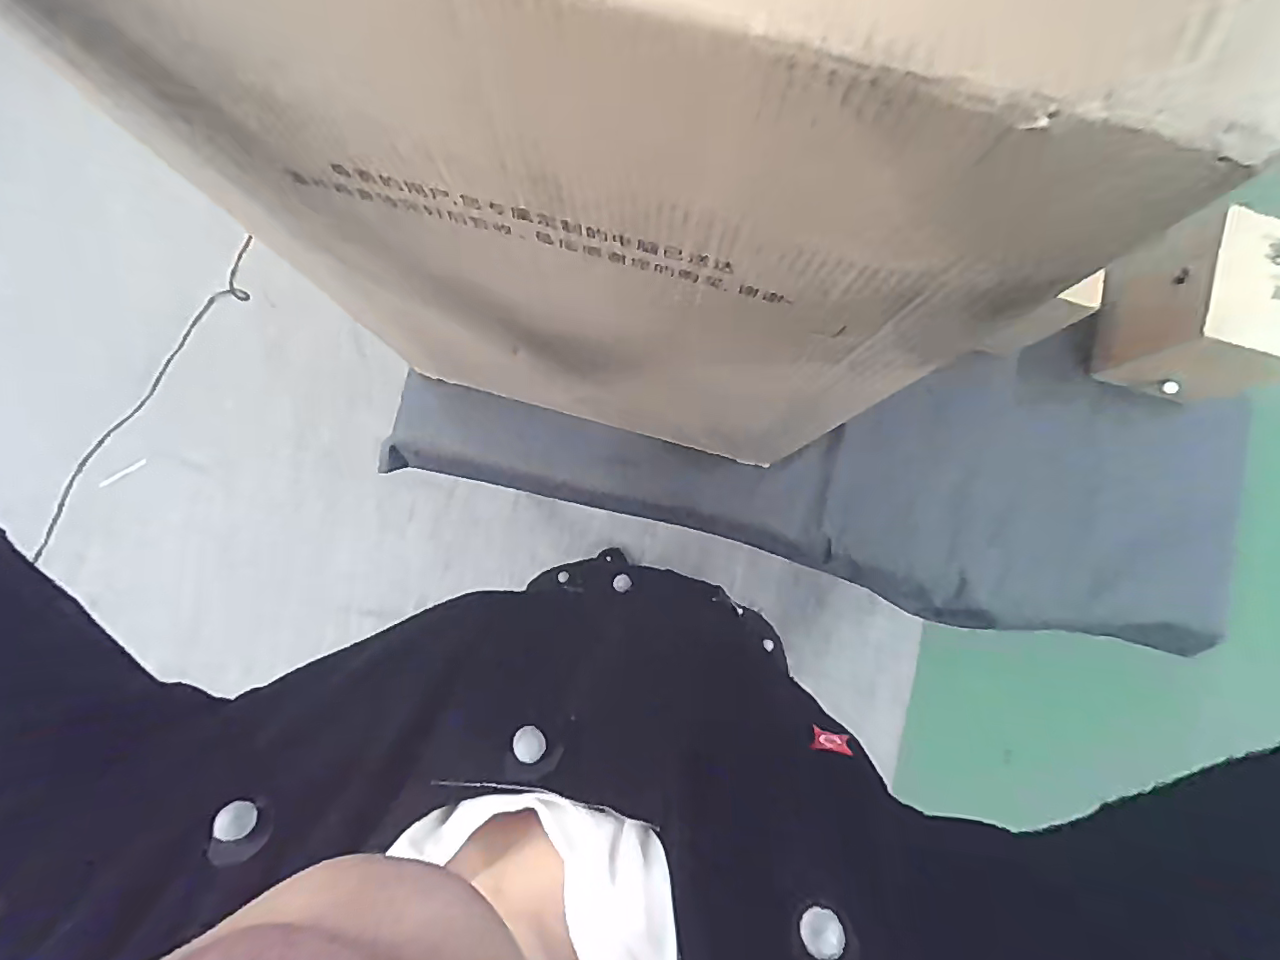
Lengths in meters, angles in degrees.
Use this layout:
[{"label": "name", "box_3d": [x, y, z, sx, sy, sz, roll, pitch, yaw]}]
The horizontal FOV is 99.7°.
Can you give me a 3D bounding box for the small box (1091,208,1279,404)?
[{"label": "small box", "box_3d": [0.767, -0.223, 0.735, 0.168, 0.176, 0.179, 17, 84, 1]}]
